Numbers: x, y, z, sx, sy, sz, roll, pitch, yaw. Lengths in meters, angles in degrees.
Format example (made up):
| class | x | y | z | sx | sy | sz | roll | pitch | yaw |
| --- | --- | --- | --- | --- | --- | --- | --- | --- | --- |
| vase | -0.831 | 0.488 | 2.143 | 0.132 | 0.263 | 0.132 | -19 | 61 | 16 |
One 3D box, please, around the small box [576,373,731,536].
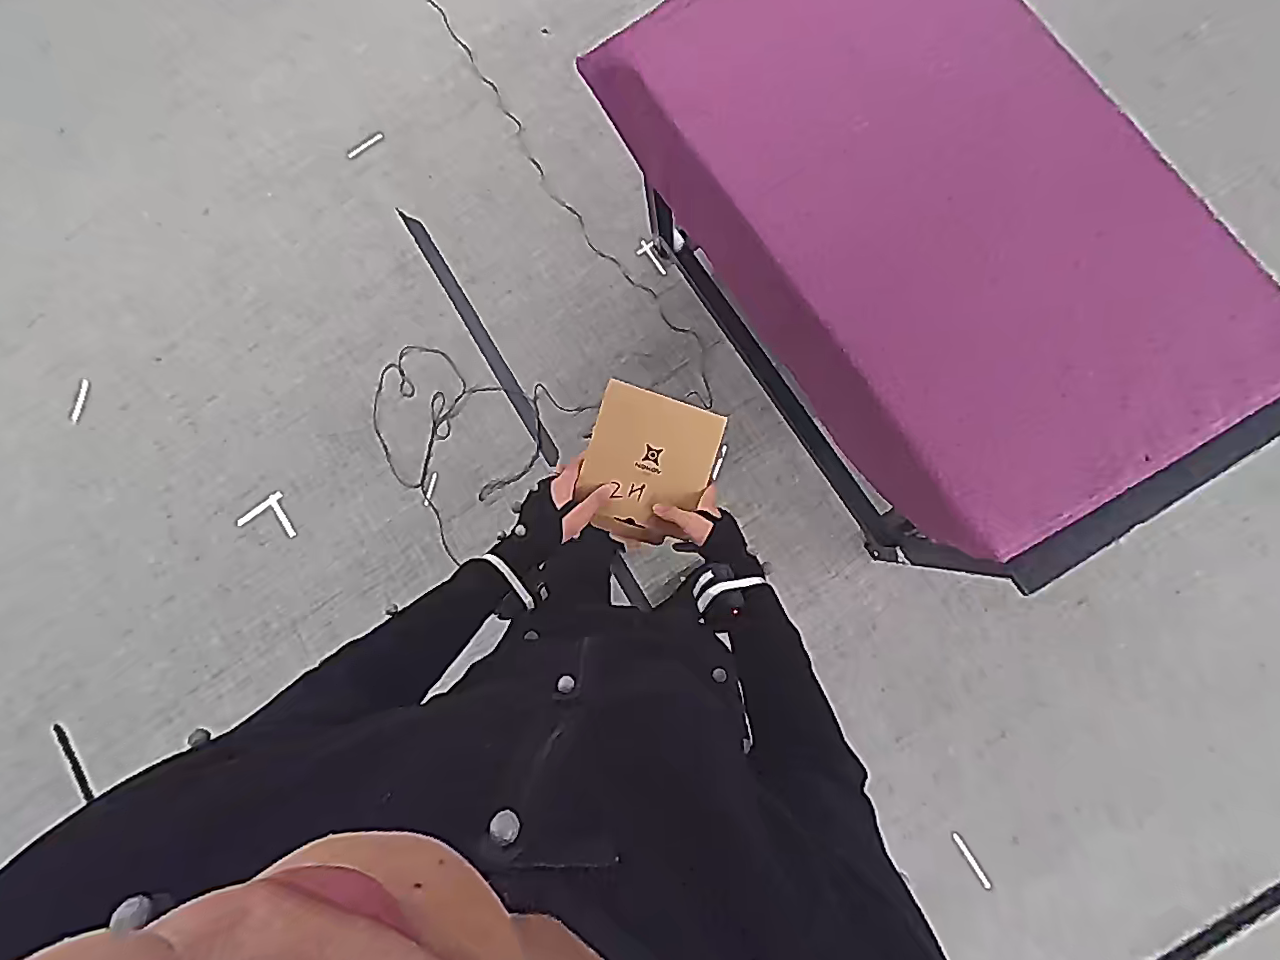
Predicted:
| class | x | y | z | sx | sy | sz | roll | pitch | yaw |
| --- | --- | --- | --- | --- | --- | --- | --- | --- | --- |
| small box | 0.011 | -0.033 | 0.782 | 0.168 | 0.176 | 0.179 | 18 | 89 | -5 |
